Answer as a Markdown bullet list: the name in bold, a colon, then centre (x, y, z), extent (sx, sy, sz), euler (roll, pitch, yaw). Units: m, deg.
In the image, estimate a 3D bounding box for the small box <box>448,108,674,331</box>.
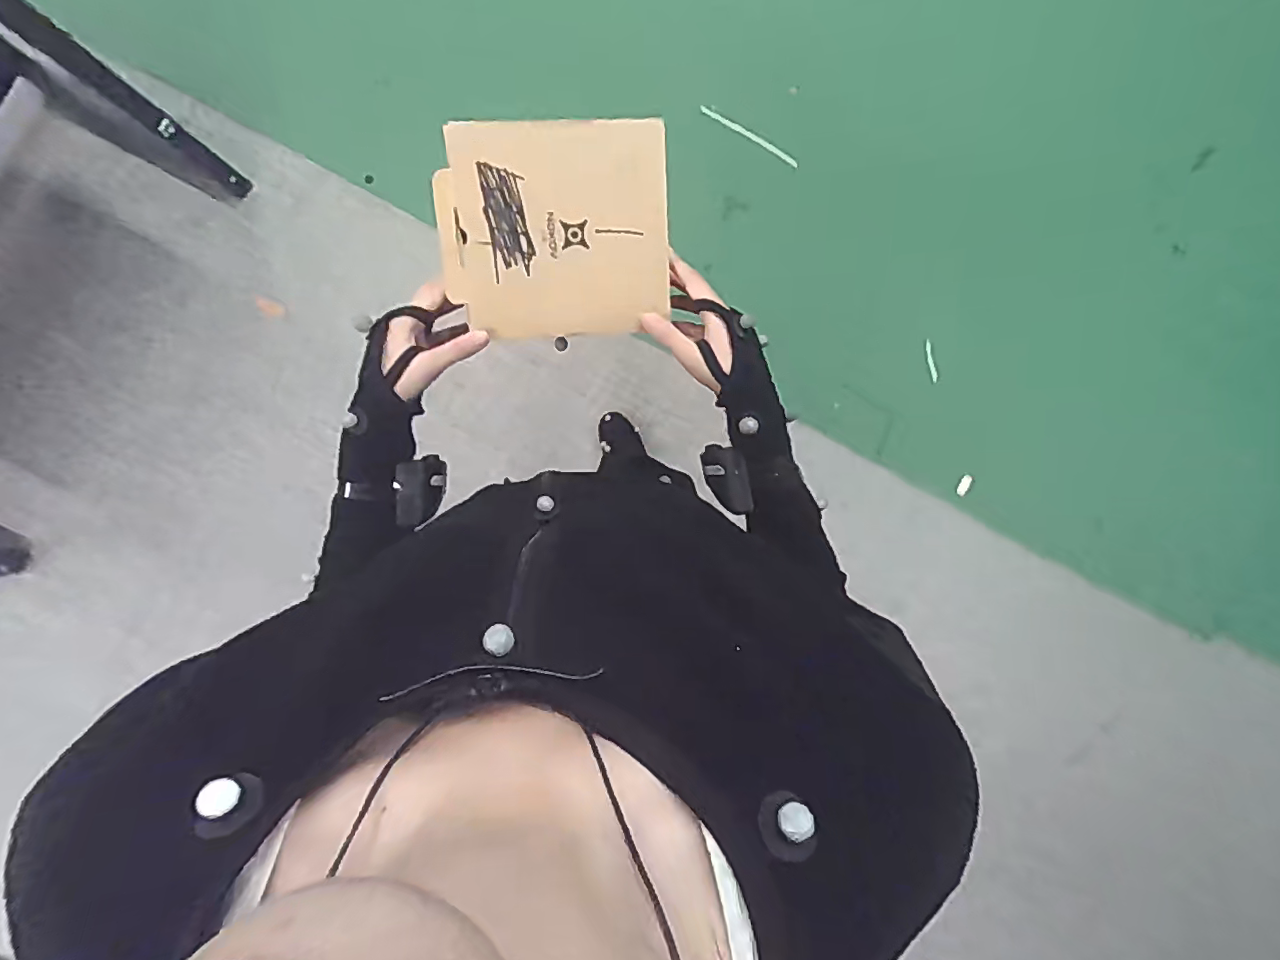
- **small box**: centre (-0.065, -0.233, 0.524), extent (0.179, 0.176, 0.168), euler (-5, 107, -3)
